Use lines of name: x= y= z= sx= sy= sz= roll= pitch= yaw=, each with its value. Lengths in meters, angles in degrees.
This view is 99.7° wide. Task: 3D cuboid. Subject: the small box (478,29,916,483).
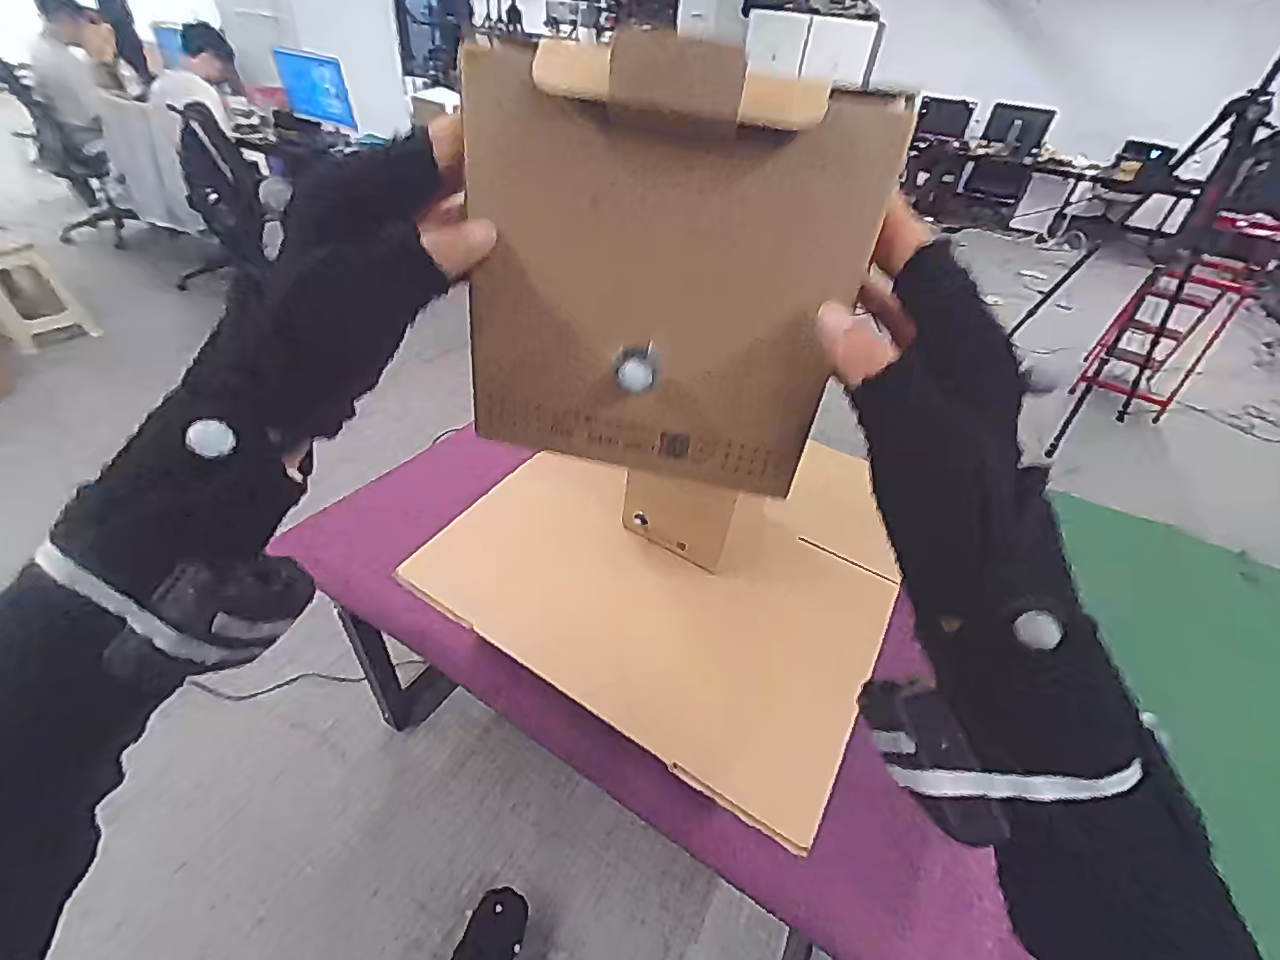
small box: x=0.022 y=-0.124 z=0.306 sx=0.168 sy=0.176 sz=0.179 roll=12 pitch=35 yaw=5

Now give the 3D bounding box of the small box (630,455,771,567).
small box: x=0.096 y=-0.003 z=0.808 sx=0.168 sy=0.176 sz=0.179 roll=26 pitch=41 yaw=22
